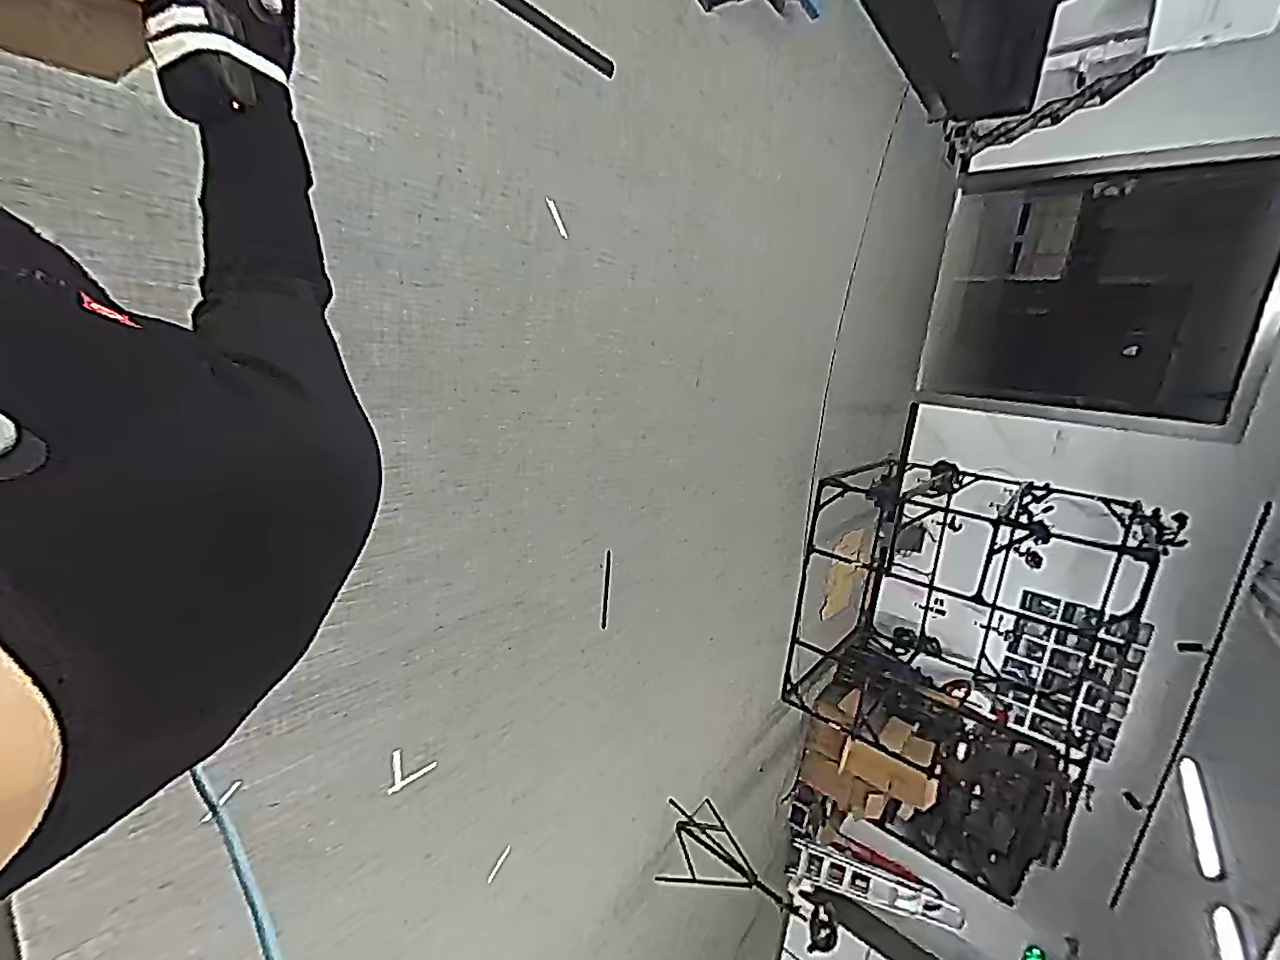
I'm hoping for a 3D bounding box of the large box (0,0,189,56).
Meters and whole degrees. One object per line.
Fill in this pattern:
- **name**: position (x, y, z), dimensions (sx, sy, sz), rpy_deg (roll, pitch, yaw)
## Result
- **large box**: position (-0.544, -0.499, 0.280), dimensions (0.408, 0.320, 0.320), rpy_deg (-15, 120, -50)
